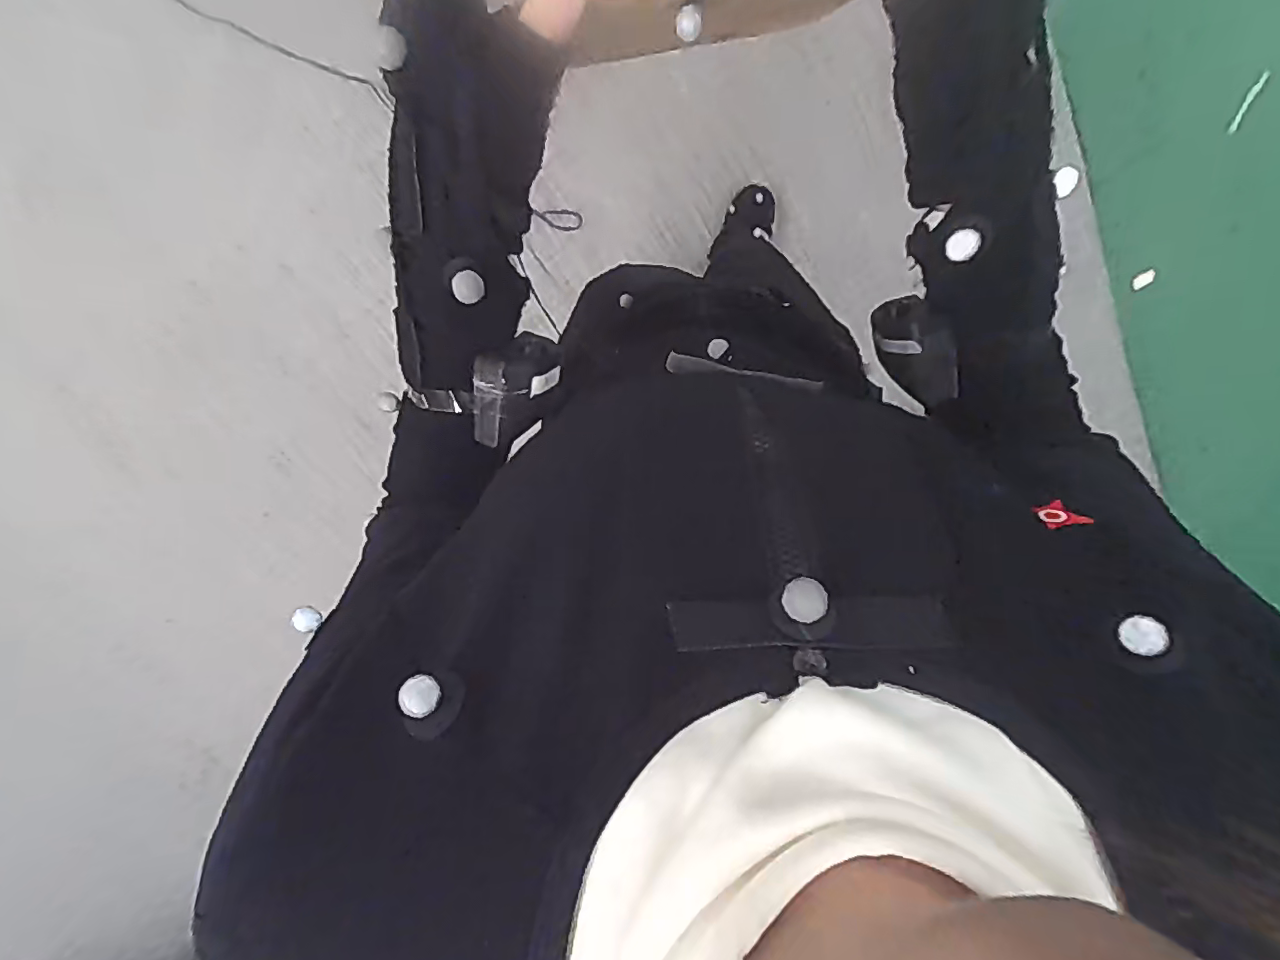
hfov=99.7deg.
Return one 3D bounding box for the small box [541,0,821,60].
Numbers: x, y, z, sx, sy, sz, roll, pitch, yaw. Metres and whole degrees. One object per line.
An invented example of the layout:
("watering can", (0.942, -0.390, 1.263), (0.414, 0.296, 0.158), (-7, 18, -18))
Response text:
("small box", (0.018, -0.316, 0.233), (0.168, 0.176, 0.179), (-9, 120, 3))
